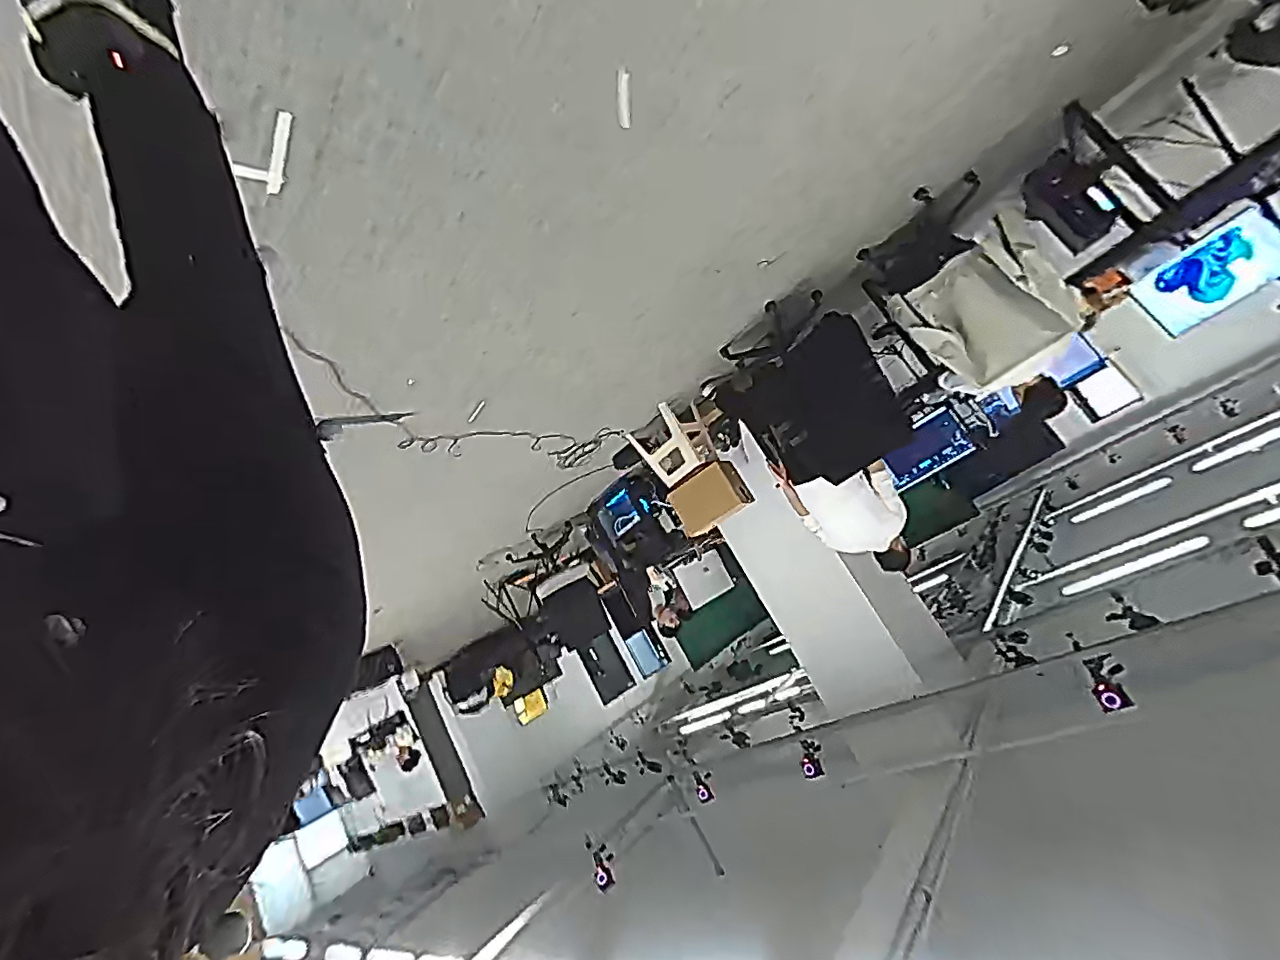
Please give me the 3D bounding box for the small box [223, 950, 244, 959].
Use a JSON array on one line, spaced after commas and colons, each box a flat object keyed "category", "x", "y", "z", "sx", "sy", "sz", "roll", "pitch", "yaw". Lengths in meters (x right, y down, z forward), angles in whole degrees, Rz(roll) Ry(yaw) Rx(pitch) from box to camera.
[{"category": "small box", "x": -1.406, "y": 1.702, "z": 1.765, "sx": 0.168, "sy": 0.176, "sz": 0.179, "roll": -39, "pitch": 163, "yaw": 26}]
